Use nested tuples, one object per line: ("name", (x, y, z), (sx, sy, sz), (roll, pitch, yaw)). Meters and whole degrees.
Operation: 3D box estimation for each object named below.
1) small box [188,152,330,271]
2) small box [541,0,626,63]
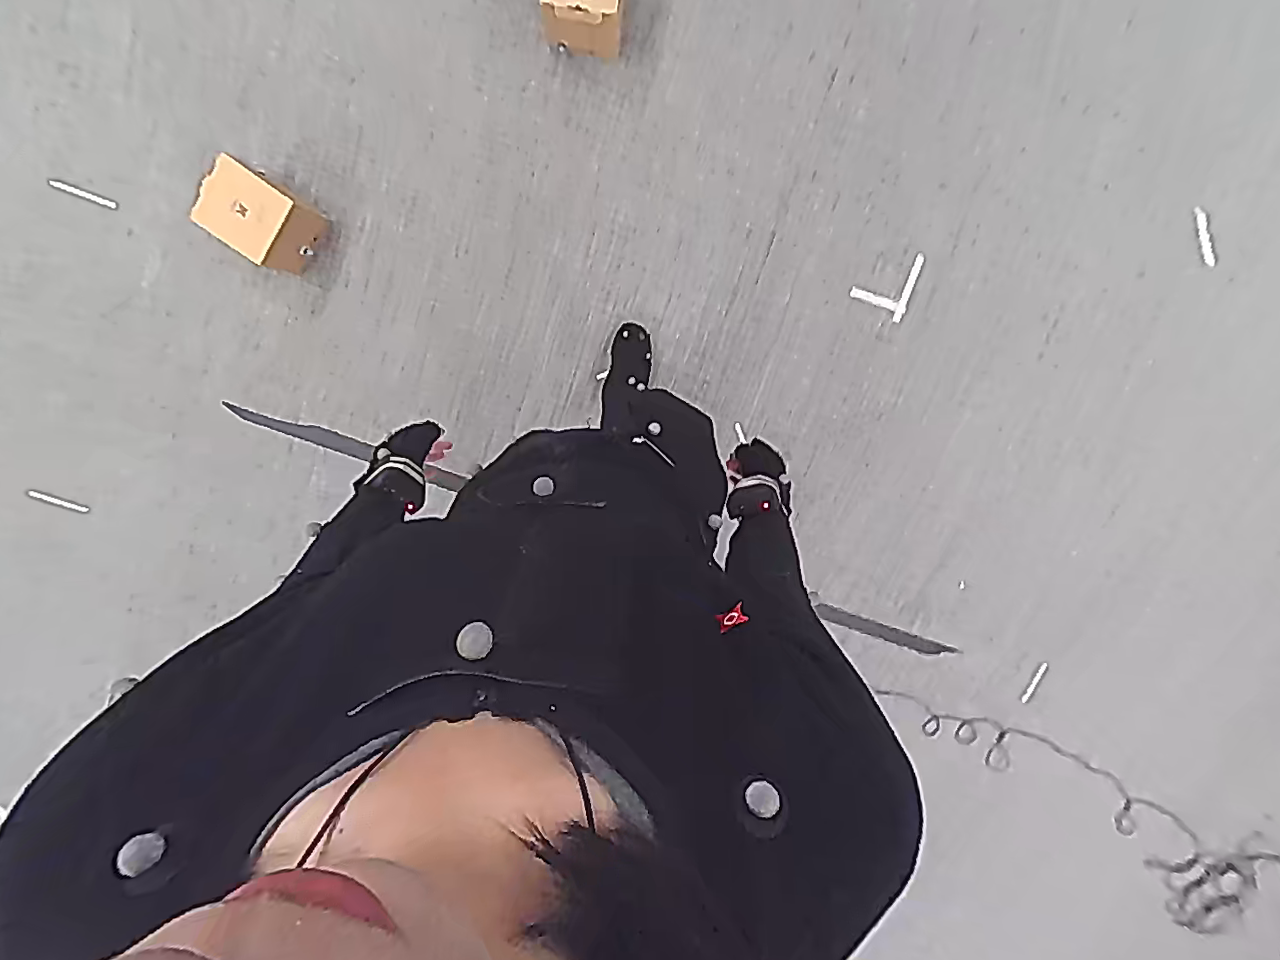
("small box", (-0.877, -0.611, 1.261), (0.179, 0.176, 0.168), (34, 100, -10))
("small box", (-0.117, -1.073, 1.198), (0.168, 0.176, 0.179), (8, 101, -4))
